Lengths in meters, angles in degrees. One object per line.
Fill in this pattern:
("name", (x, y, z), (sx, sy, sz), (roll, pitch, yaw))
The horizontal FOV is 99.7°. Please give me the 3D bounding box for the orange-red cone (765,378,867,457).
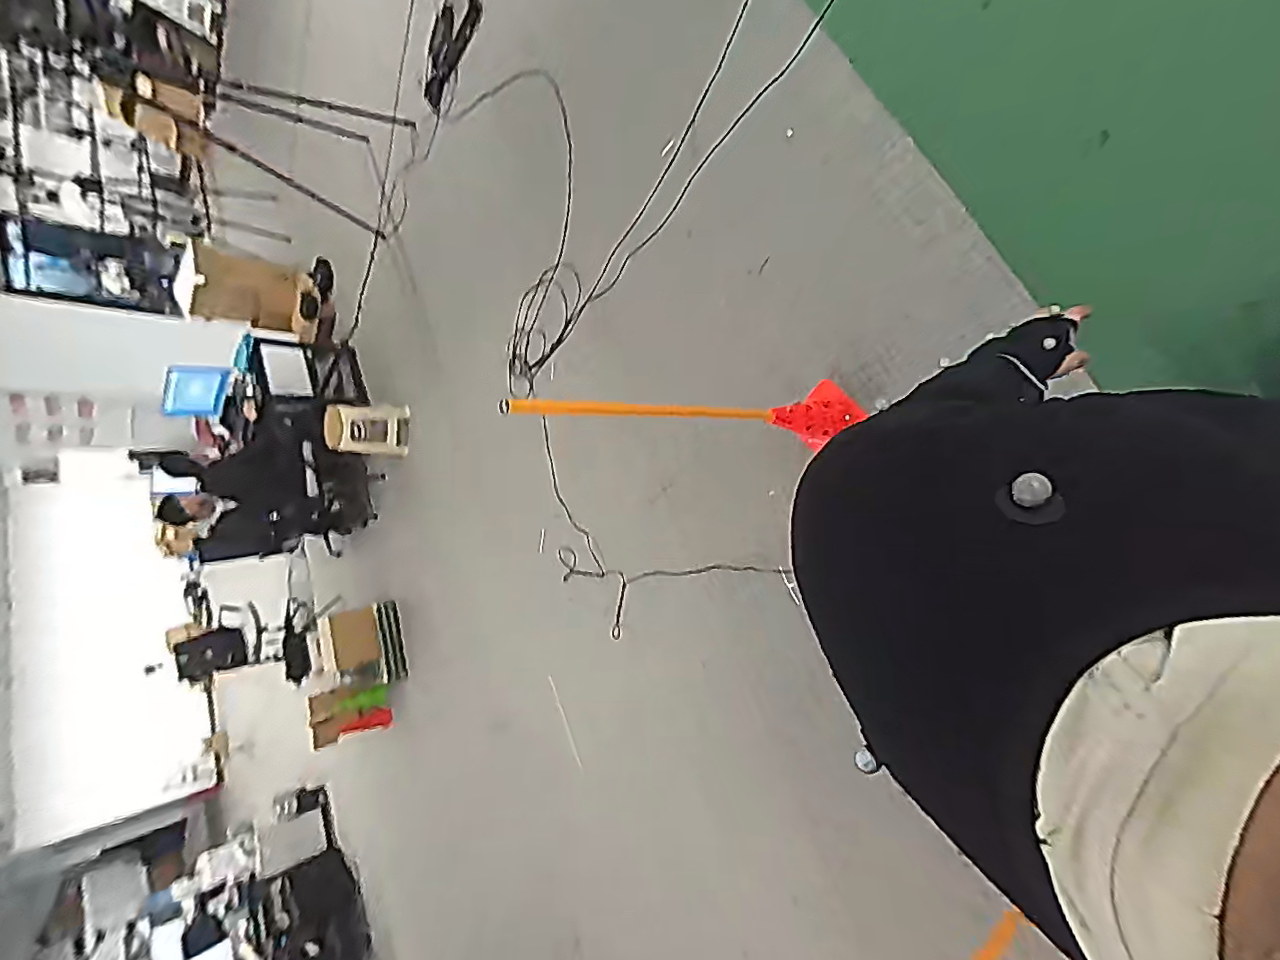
("orange-red cone", (0.480, -0.194, 1.606), (0.198, 0.360, 0.199), (-53, 57, 31))
